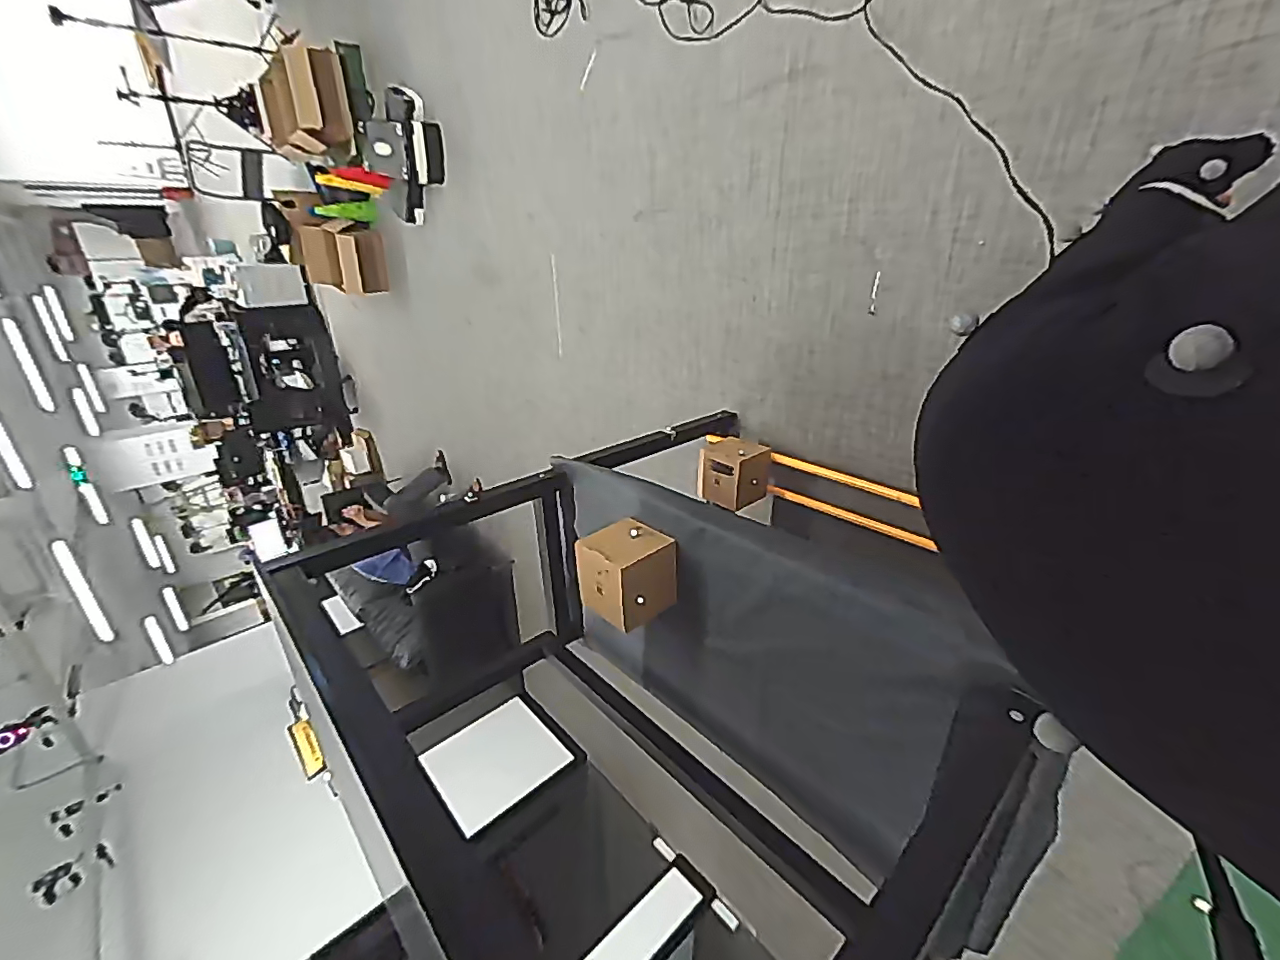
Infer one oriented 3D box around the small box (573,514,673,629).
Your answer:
[{"bbox_3d":[-0.036,0.205,1.259,0.168,0.176,0.179,22,123,42],"label":"small box"}]
